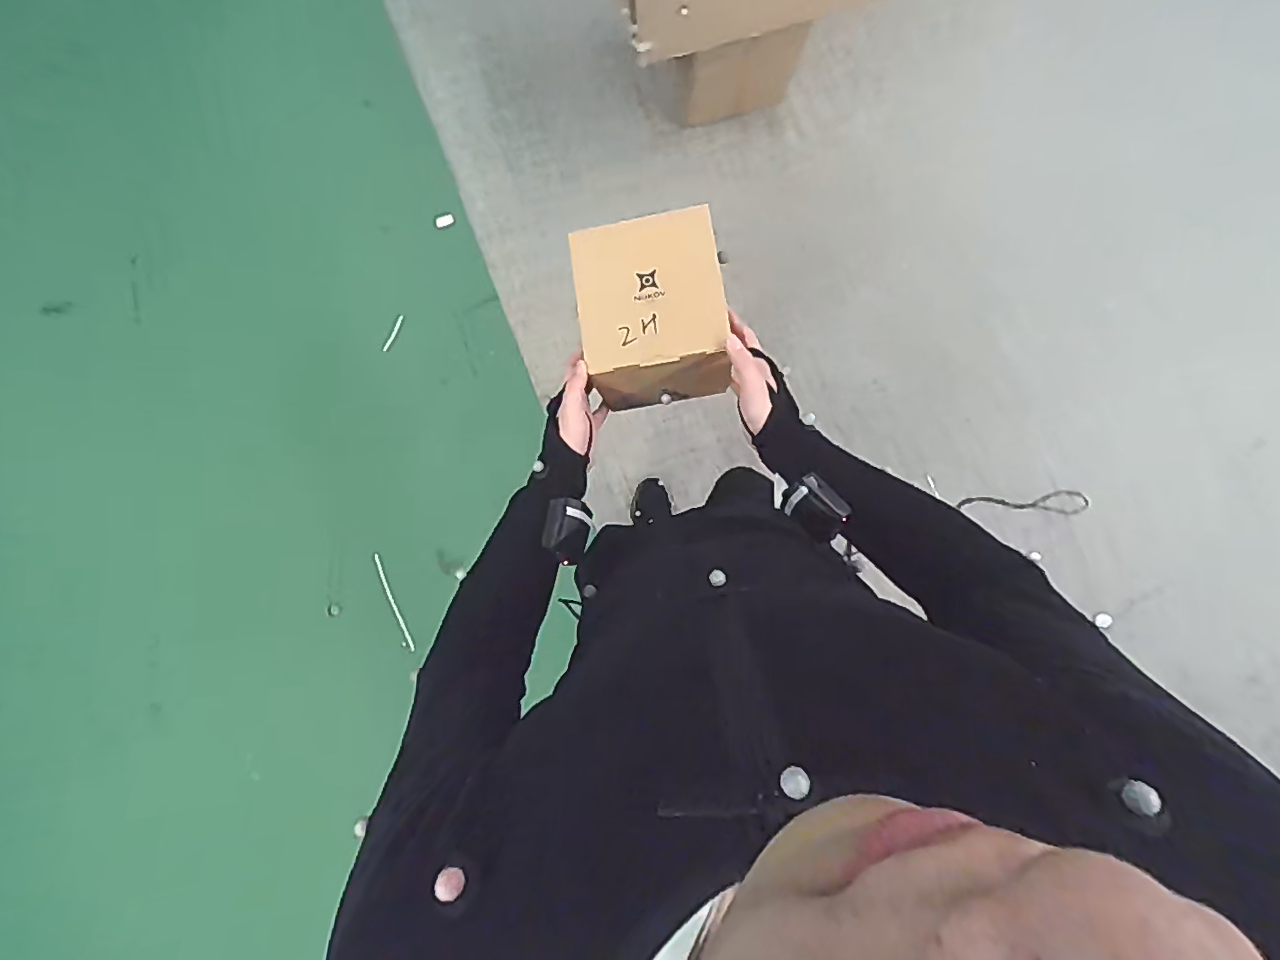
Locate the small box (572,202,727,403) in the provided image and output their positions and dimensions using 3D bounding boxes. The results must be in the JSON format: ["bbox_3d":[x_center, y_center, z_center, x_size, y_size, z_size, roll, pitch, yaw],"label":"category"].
[{"bbox_3d":[0.018,-0.213,0.691,0.168,0.176,0.179,-7,82,8],"label":"small box"}]
